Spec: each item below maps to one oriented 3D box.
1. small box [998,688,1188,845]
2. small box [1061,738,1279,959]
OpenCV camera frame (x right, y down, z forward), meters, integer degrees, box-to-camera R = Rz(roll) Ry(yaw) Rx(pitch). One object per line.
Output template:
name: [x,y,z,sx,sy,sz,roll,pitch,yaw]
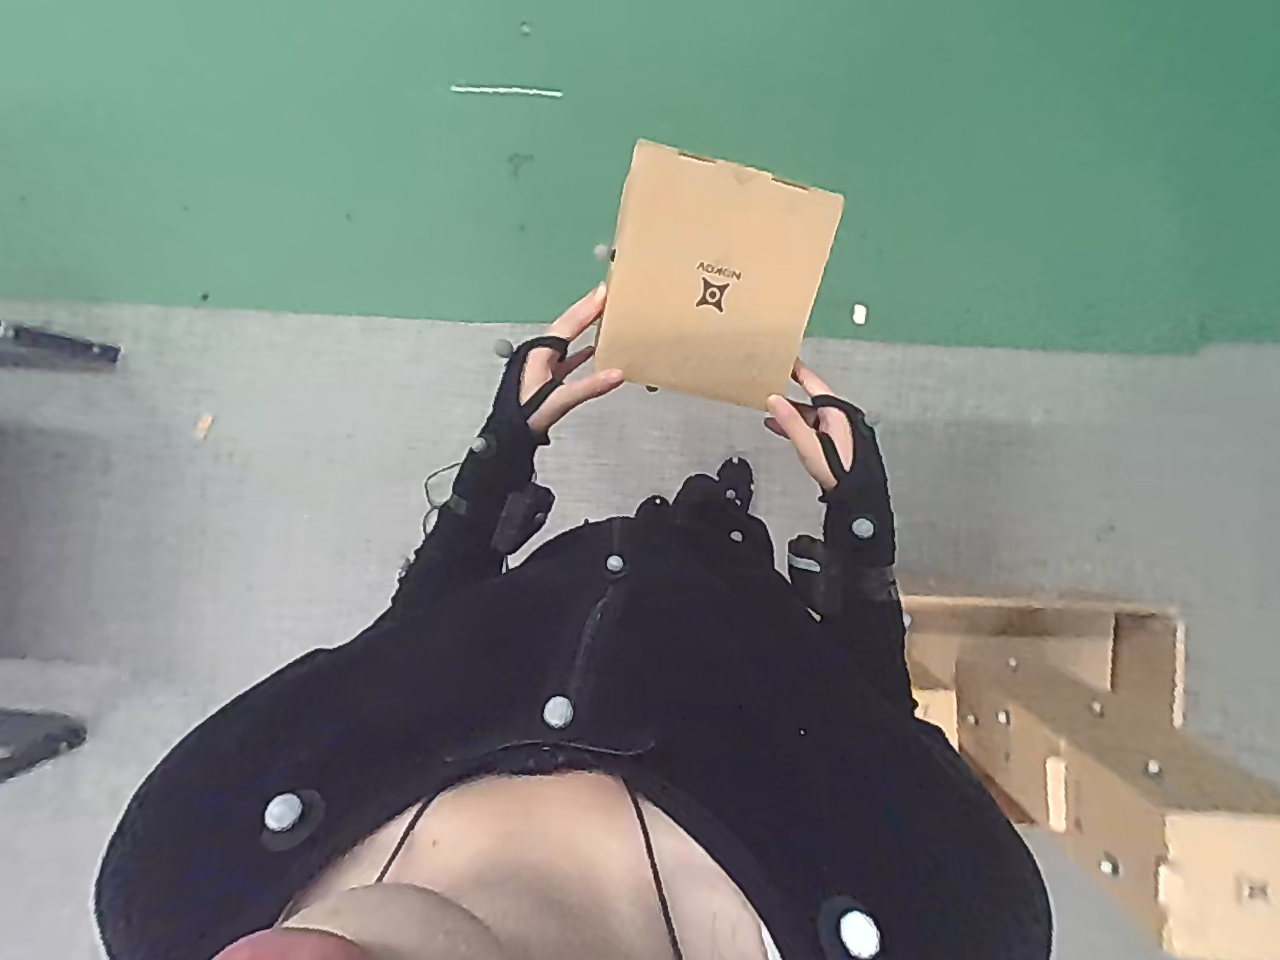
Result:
small box: [0.684,0.435,0.837,0.179,0.176,0.168,-3,90,5]
small box: [0.669,0.443,0.674,0.179,0.176,0.168,0,91,5]
